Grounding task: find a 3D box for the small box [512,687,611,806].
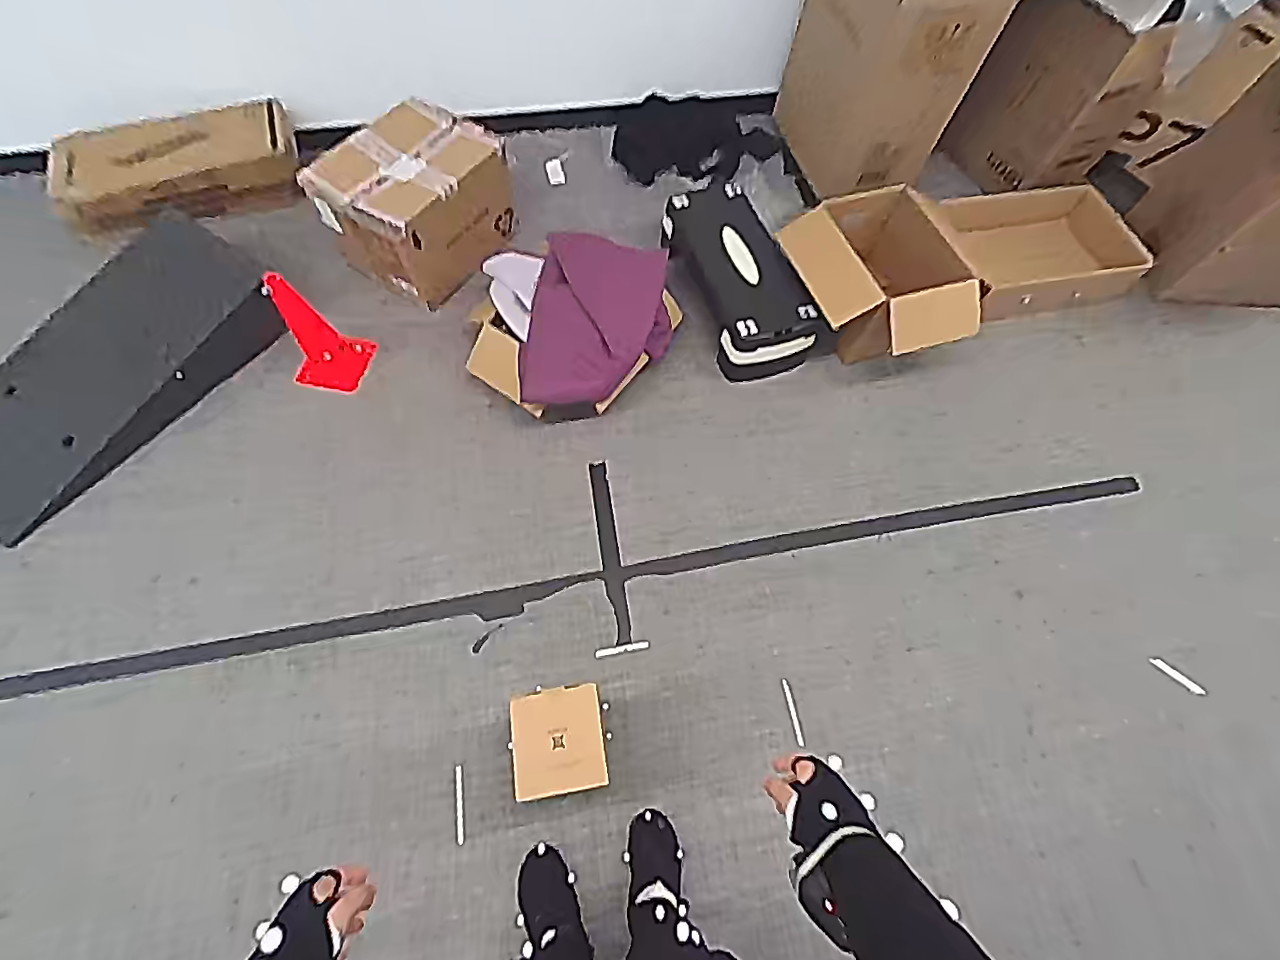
[{"bbox_3d":[-0.149,0.518,1.061,0.168,0.176,0.179,-9,66,-5],"label":"small box"}]
